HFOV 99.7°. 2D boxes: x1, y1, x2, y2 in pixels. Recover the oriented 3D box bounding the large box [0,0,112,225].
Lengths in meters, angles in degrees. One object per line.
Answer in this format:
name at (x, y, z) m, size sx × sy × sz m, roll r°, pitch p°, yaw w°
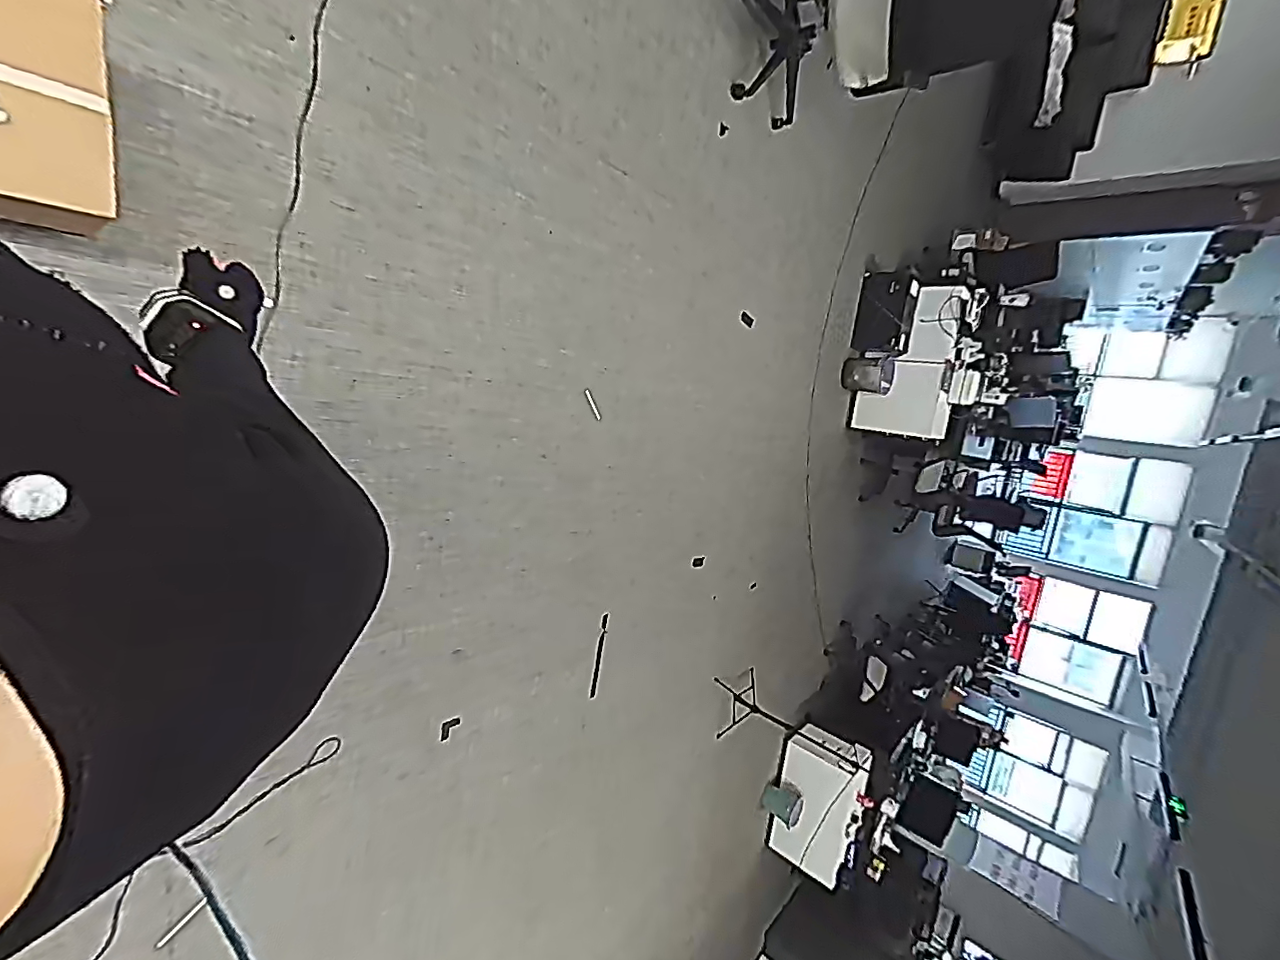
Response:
large box at (-1.052, -0.585, 0.757) m, size 0.408 × 0.320 × 0.320 m, roll -6°, pitch 107°, yaw -50°
